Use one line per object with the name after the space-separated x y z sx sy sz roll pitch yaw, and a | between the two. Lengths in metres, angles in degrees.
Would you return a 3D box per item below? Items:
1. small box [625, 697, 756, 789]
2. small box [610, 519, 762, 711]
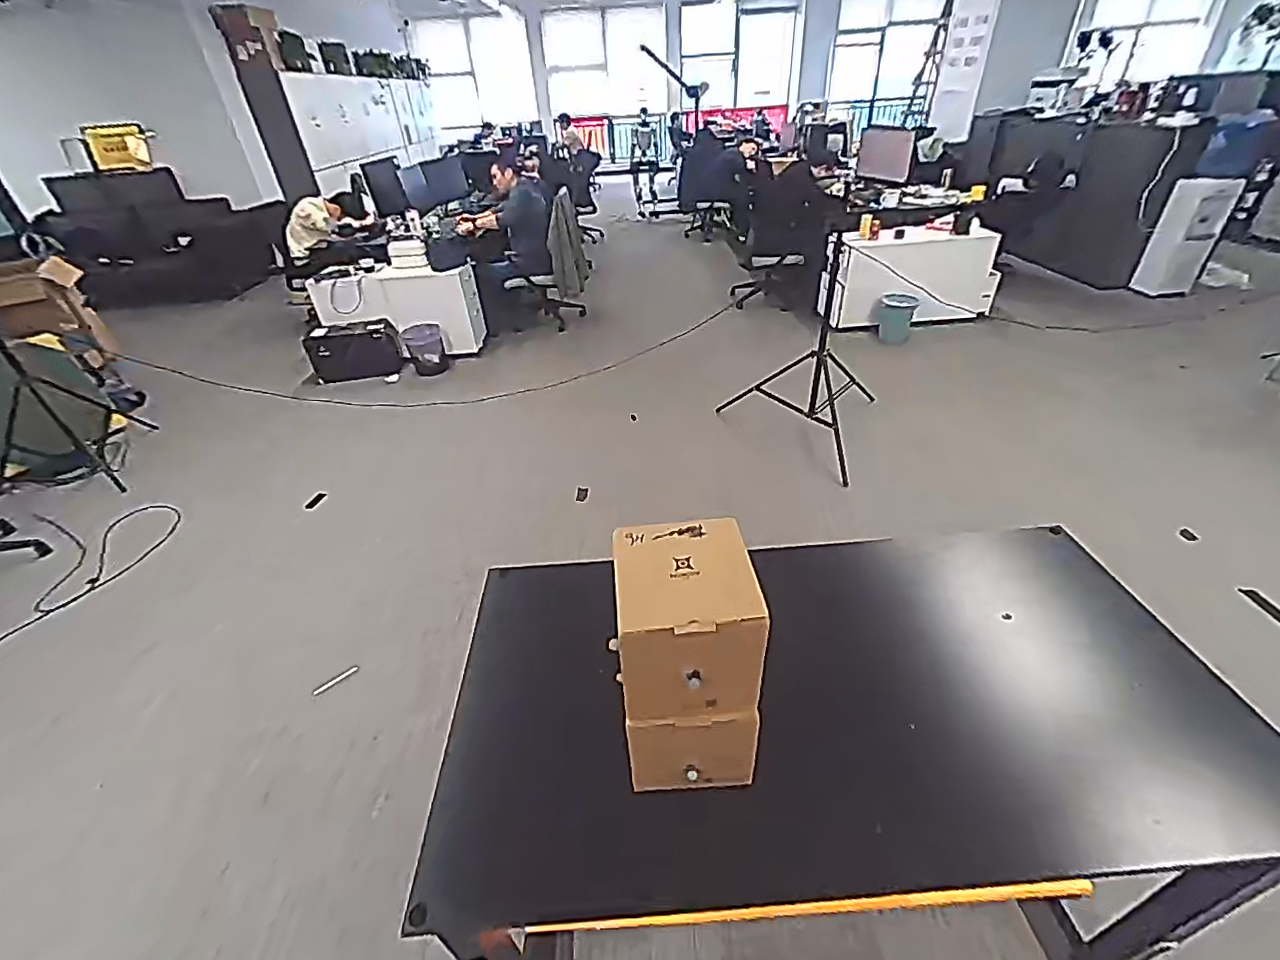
0.065 0.314 0.780 0.168 0.176 0.179 -4 35 1 | small box
0.053 0.176 0.693 0.168 0.176 0.179 -5 36 -2 | small box
